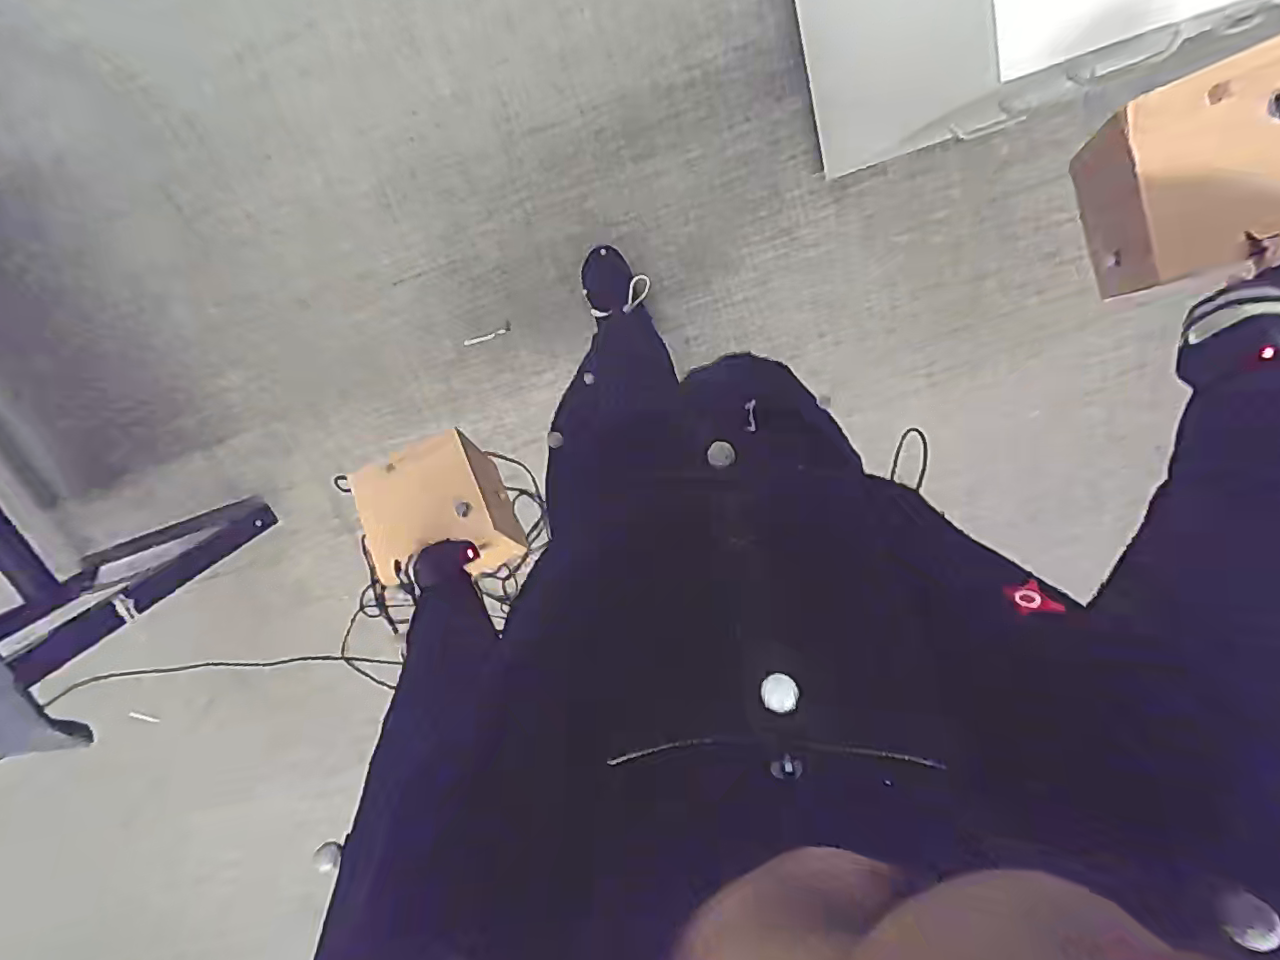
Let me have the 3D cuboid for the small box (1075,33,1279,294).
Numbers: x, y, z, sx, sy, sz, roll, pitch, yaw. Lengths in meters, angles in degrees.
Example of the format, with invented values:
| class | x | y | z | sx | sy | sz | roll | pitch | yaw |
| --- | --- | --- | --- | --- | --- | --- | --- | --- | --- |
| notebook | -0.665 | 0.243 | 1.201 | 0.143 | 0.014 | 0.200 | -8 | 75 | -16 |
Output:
| class | x | y | z | sx | sy | sz | roll | pitch | yaw |
| --- | --- | --- | --- | --- | --- | --- | --- | --- | --- |
| small box | 0.556 | -0.298 | 0.524 | 0.168 | 0.179 | 0.176 | -16 | 96 | 29 |
